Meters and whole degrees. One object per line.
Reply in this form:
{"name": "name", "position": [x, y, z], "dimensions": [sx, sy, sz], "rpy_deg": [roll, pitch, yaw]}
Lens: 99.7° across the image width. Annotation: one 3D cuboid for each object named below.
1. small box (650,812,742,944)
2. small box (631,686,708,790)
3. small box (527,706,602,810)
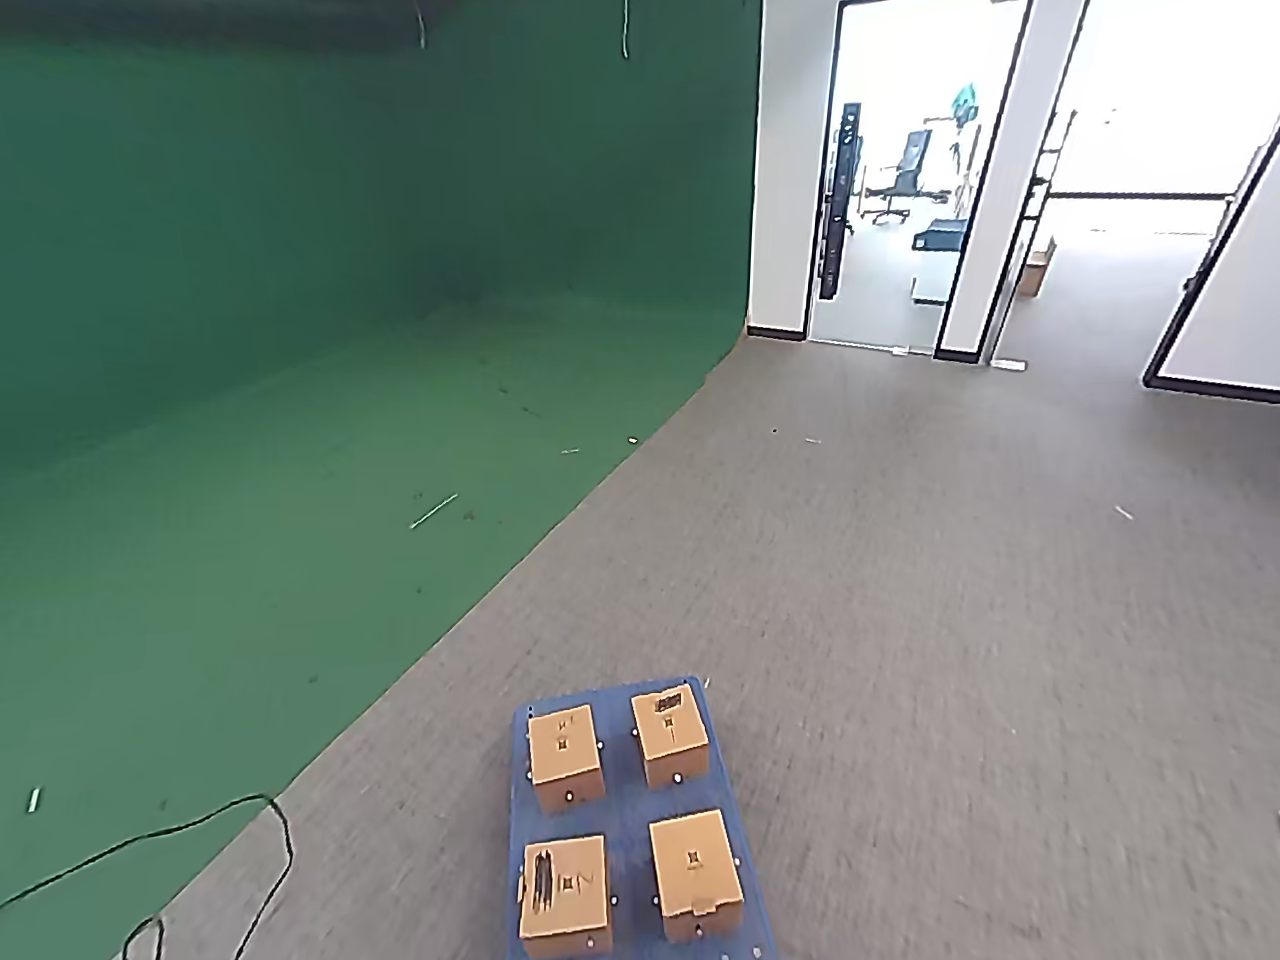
{"name": "small box", "position": [0.116, 0.873, 1.189], "dimensions": [0.168, 0.176, 0.179], "rpy_deg": [-8, 36, -6]}
{"name": "small box", "position": [0.075, 0.689, 1.446], "dimensions": [0.168, 0.176, 0.179], "rpy_deg": [-11, 37, -8]}
{"name": "small box", "position": [-0.196, 0.731, 1.413], "dimensions": [0.168, 0.176, 0.179], "rpy_deg": [-9, 36, -9]}
